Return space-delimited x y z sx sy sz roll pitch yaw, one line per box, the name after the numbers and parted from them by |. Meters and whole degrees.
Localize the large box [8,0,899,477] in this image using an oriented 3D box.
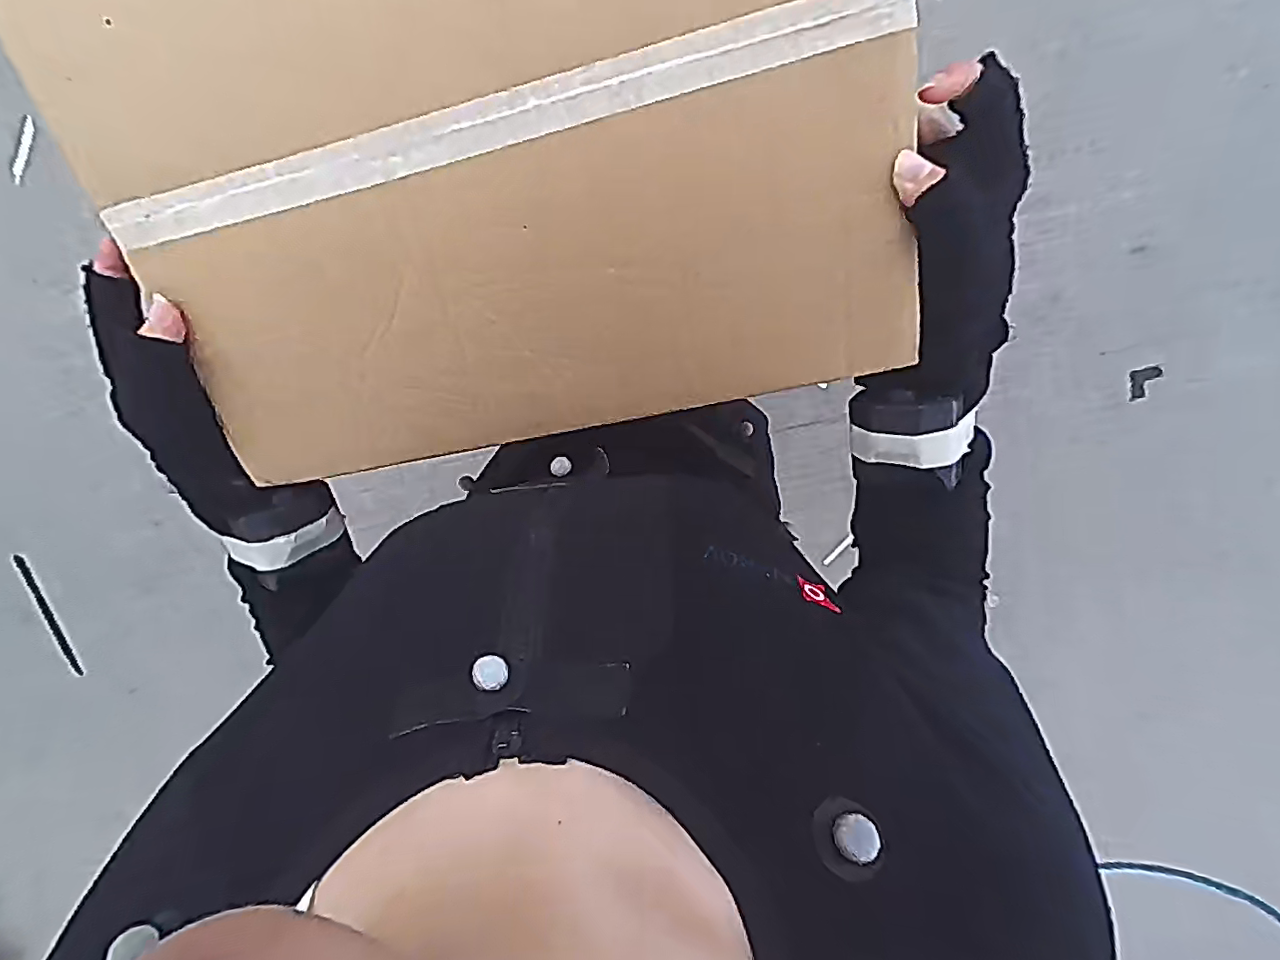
-0.072 -0.236 0.402 0.408 0.320 0.320 -10 113 9 | large box
